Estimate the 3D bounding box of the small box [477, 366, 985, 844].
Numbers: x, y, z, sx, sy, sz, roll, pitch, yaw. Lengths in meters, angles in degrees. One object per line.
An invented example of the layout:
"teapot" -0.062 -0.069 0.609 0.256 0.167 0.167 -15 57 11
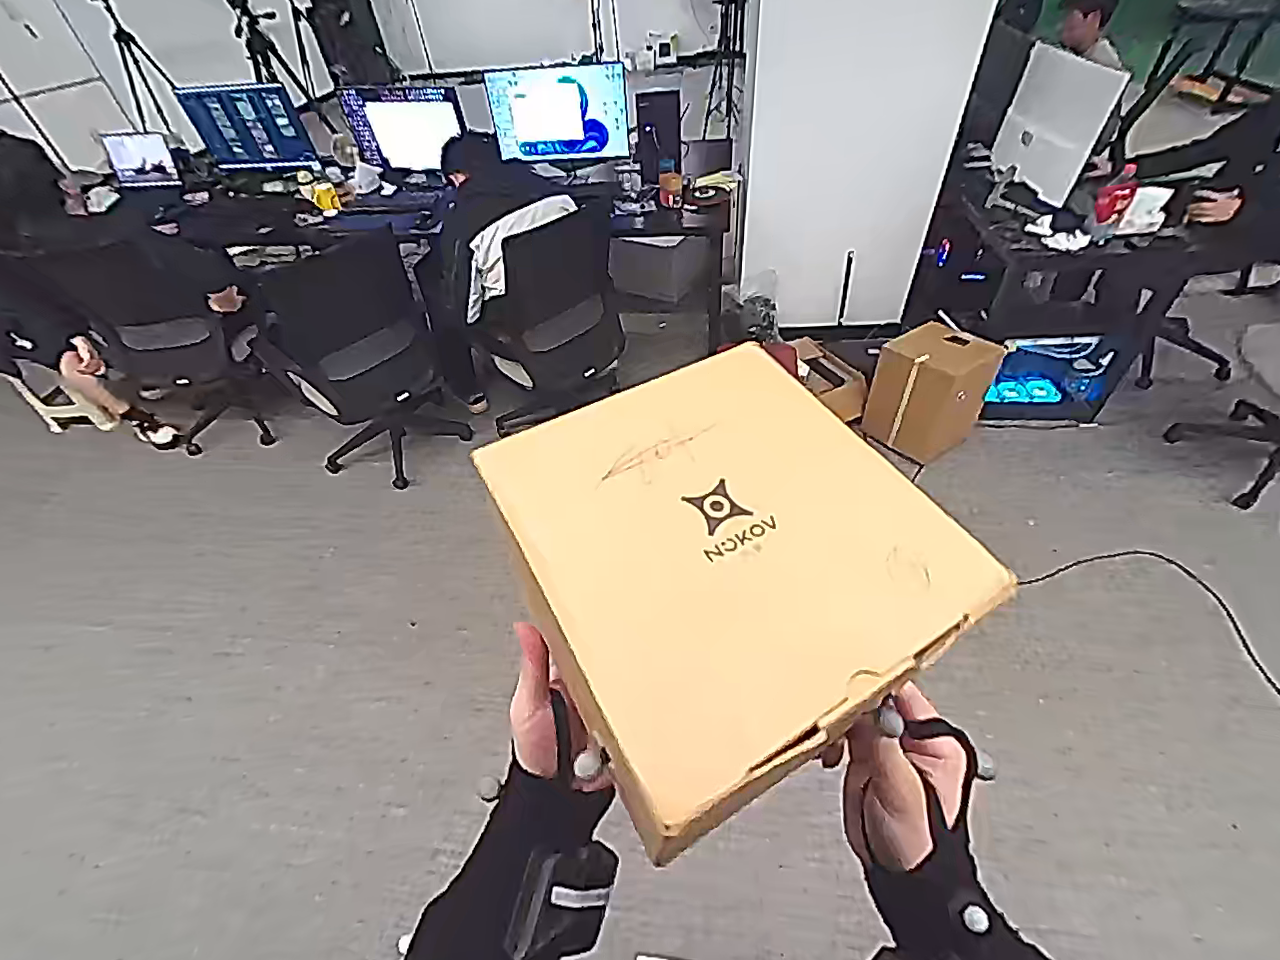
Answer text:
"small box" 0.033 0.073 0.306 0.168 0.176 0.179 -26 54 -20
